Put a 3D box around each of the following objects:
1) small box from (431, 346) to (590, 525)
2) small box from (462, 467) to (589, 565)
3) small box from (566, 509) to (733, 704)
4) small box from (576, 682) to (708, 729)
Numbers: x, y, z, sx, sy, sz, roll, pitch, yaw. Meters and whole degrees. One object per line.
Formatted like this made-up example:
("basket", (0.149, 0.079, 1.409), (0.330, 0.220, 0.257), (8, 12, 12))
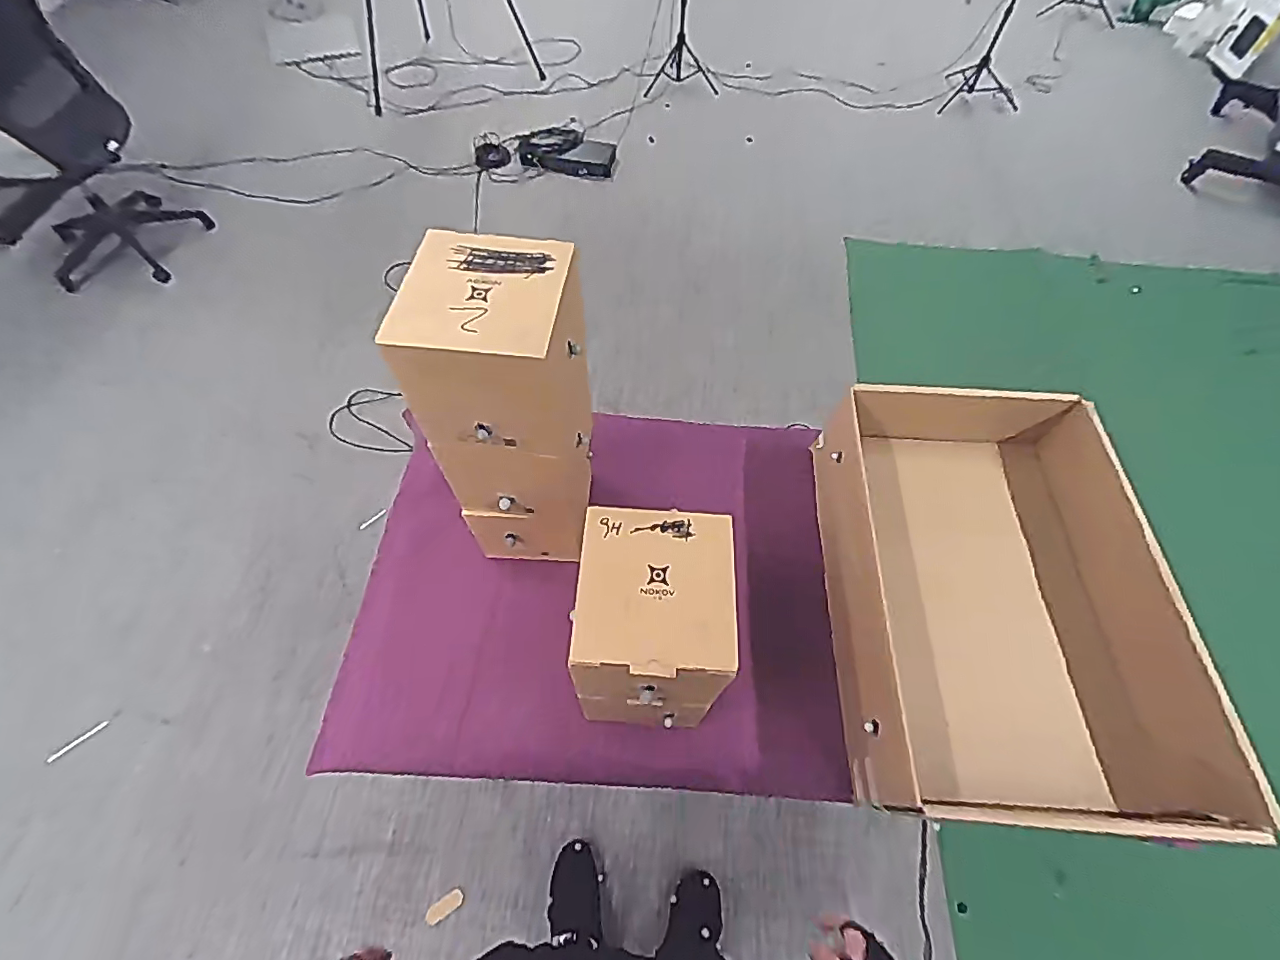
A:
("small box", (-0.165, -0.059, 0.758), (0.168, 0.176, 0.179), (6, 58, 3))
("small box", (-0.176, 0.030, 0.896), (0.168, 0.176, 0.179), (3, 57, 0))
("small box", (0.013, 0.154, 0.630), (0.168, 0.176, 0.179), (4, 58, 0))
("small box", (0.007, 0.244, 0.766), (0.168, 0.176, 0.179), (5, 57, 1))
